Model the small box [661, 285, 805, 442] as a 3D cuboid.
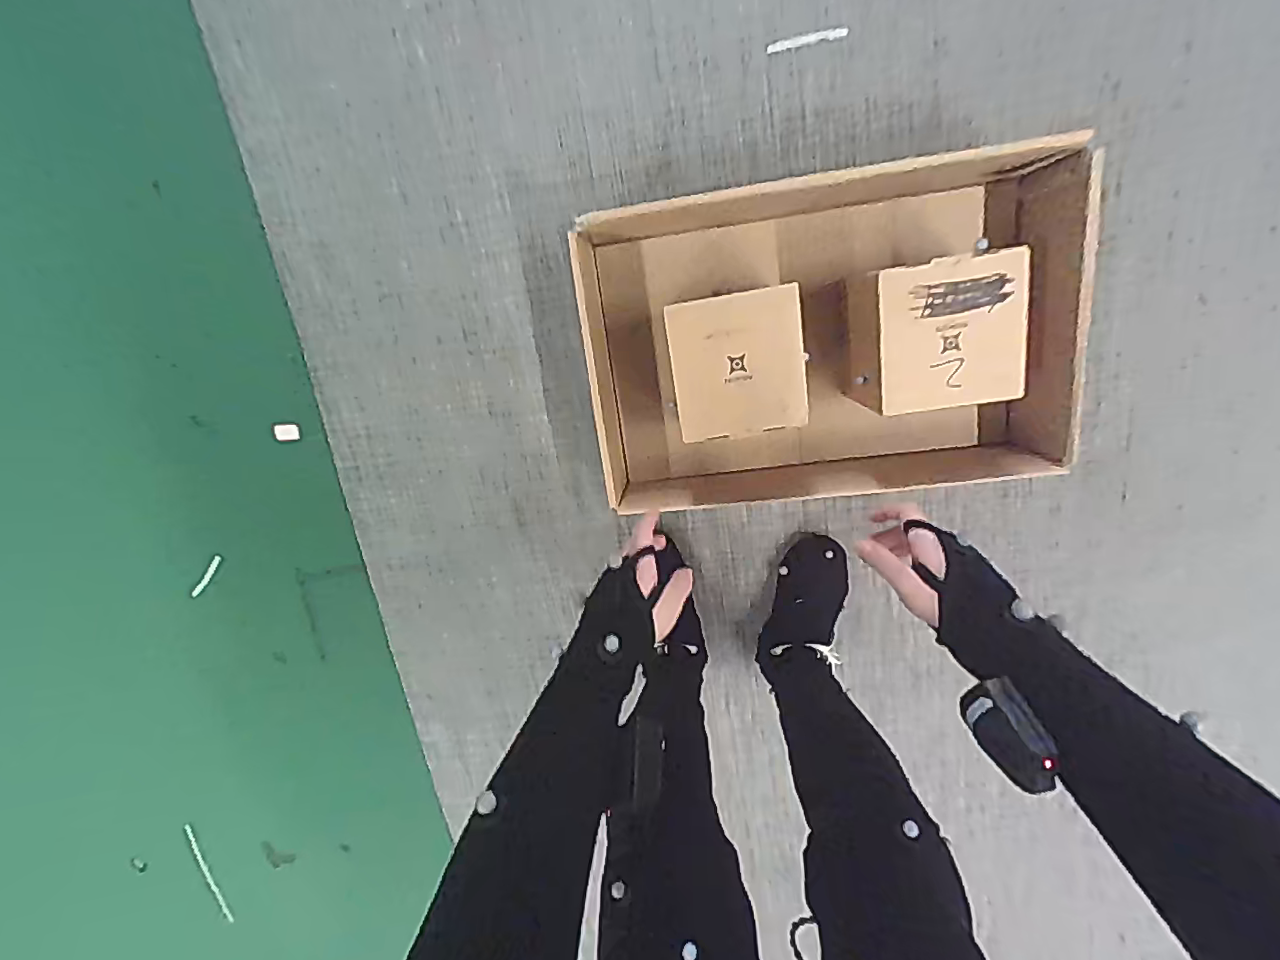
[{"bbox_3d":[0.124,-0.163,0.750,0.168,0.176,0.179,-8,105,6],"label":"small box"}]
